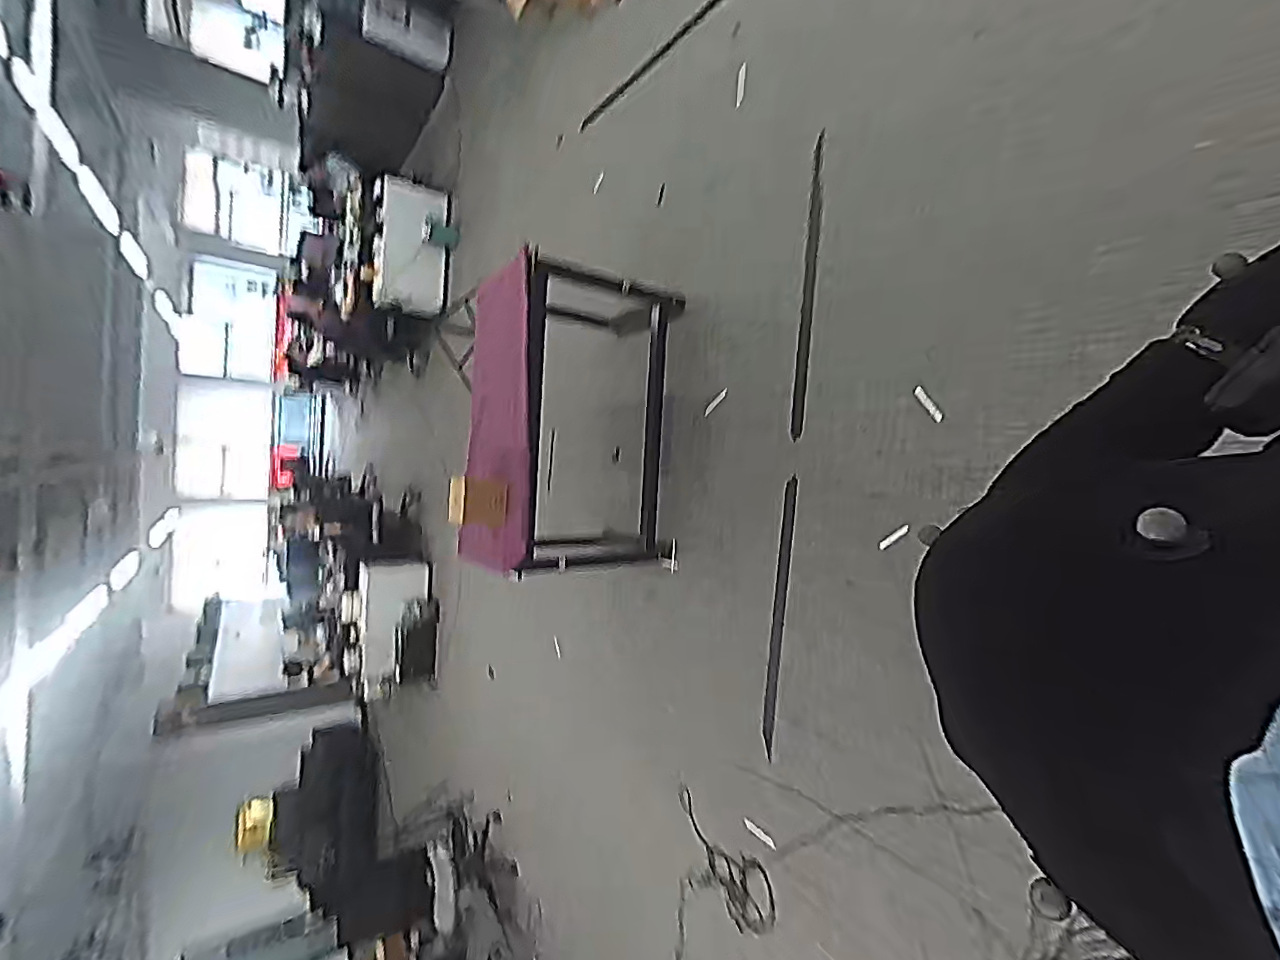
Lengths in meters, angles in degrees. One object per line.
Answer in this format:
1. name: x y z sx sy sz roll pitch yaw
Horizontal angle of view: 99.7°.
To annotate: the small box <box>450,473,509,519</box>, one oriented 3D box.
1. small box: -0.623 0.064 2.097 0.179 0.176 0.168 3 90 54
